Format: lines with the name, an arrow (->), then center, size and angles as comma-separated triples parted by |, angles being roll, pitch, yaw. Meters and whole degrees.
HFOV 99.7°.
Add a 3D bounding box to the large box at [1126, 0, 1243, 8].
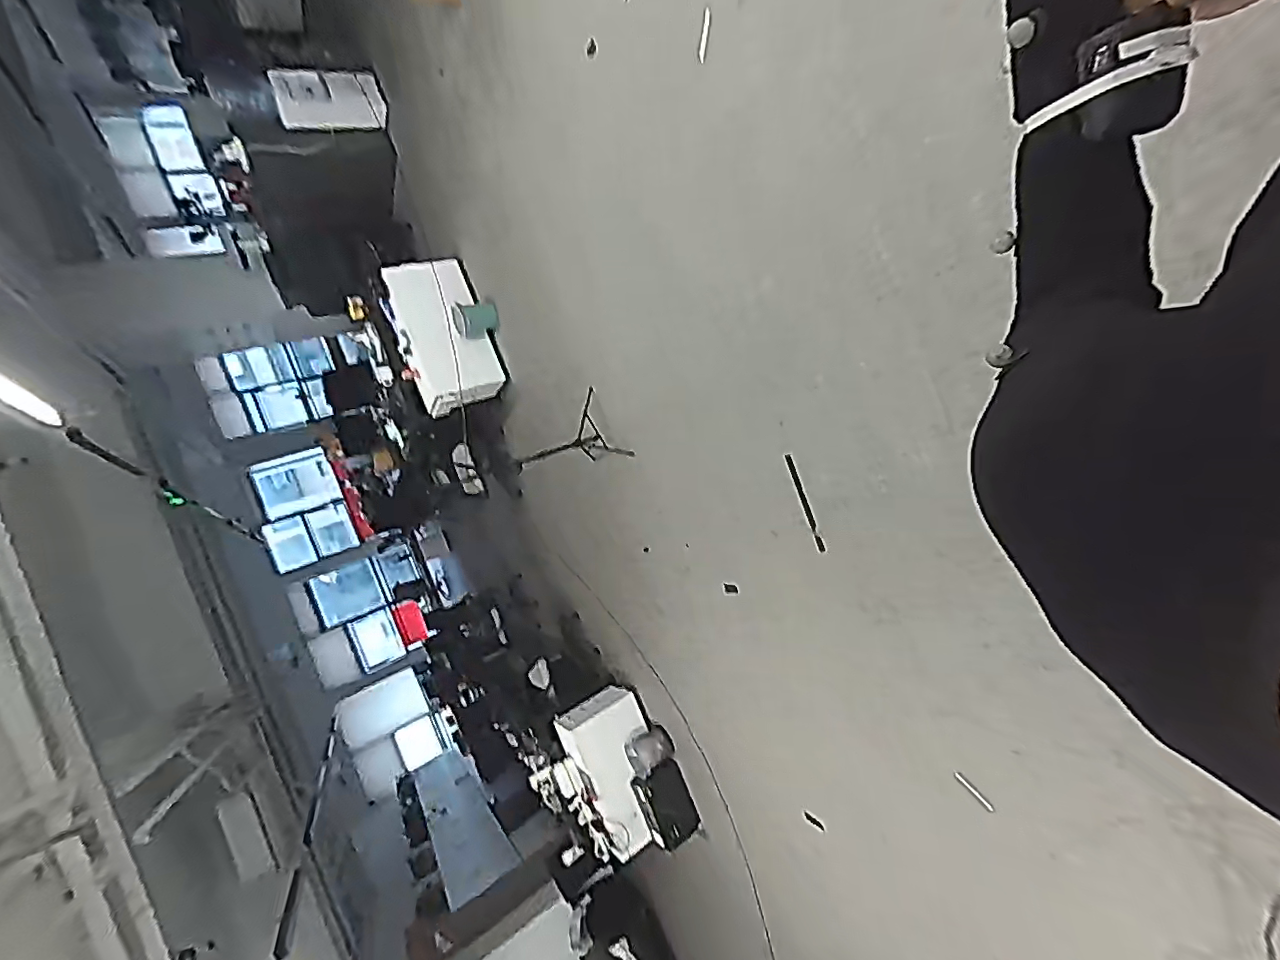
large box -> 0.495, -0.511, 0.236 | 0.408, 0.320, 0.320 | 4, 120, 55
